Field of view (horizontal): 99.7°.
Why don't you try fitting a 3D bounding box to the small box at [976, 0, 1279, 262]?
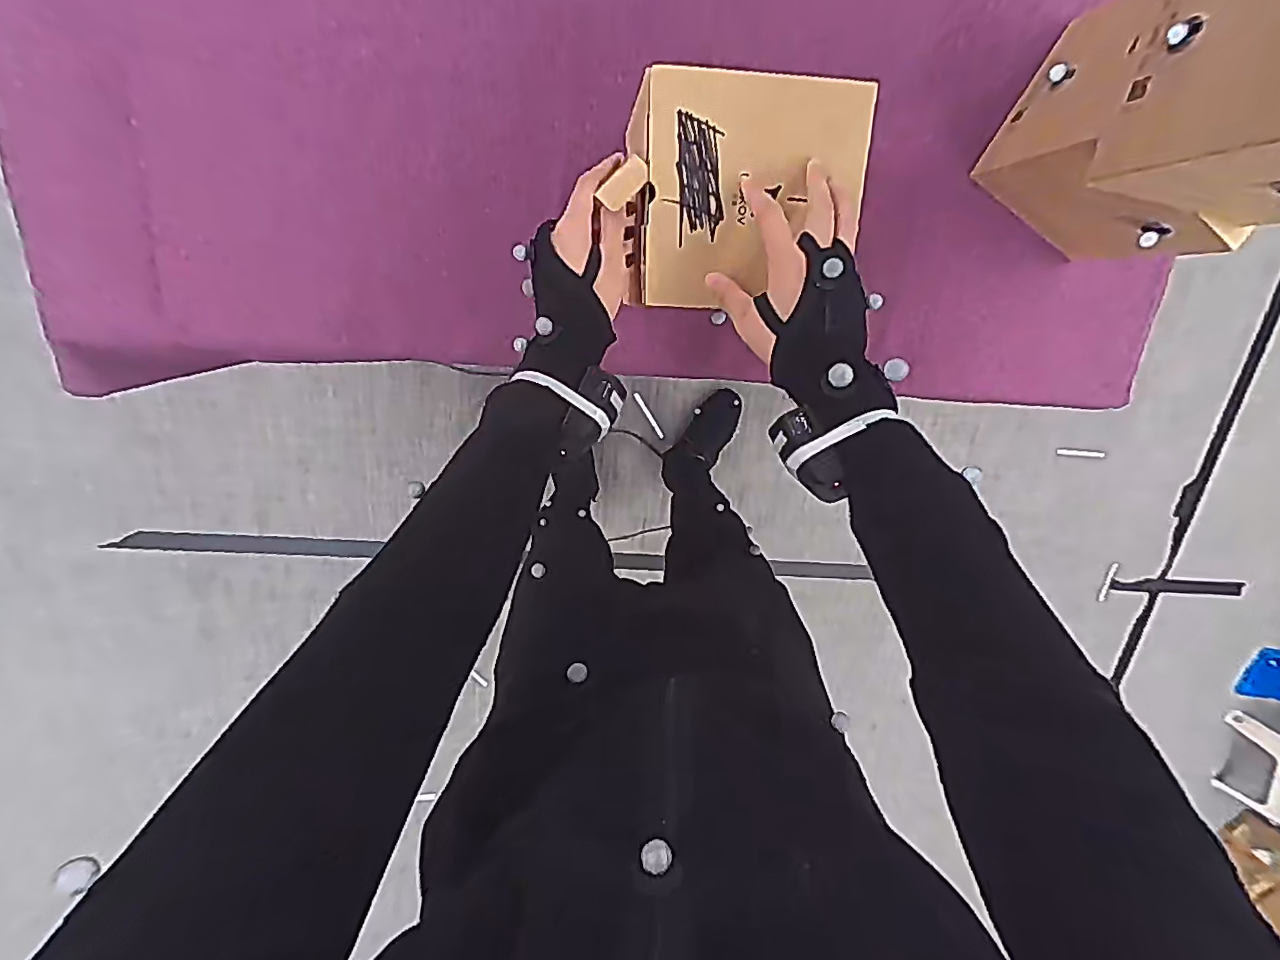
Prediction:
[{"bbox_3d":[0.478,-0.327,0.512,0.179,0.176,0.168,28,103,-15],"label":"small box"}]
